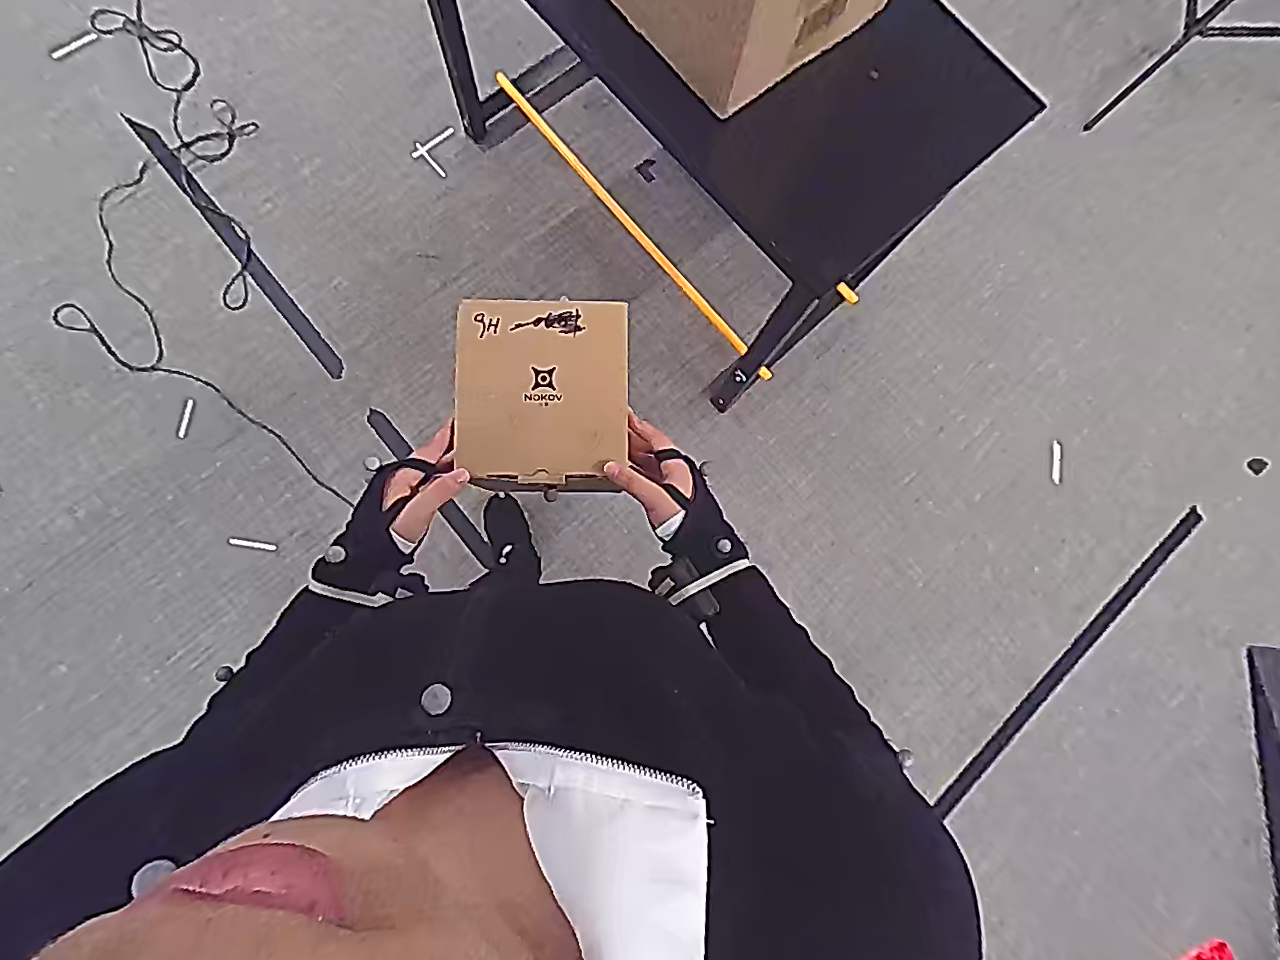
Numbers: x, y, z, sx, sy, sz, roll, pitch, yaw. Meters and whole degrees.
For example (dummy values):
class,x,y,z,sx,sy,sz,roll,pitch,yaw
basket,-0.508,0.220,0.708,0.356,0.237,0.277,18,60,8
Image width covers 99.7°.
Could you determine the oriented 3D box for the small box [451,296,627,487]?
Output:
class,x,y,z,sx,sy,sz,roll,pitch,yaw
small box,-0.098,-0.082,0.589,0.168,0.176,0.179,0,85,-3
